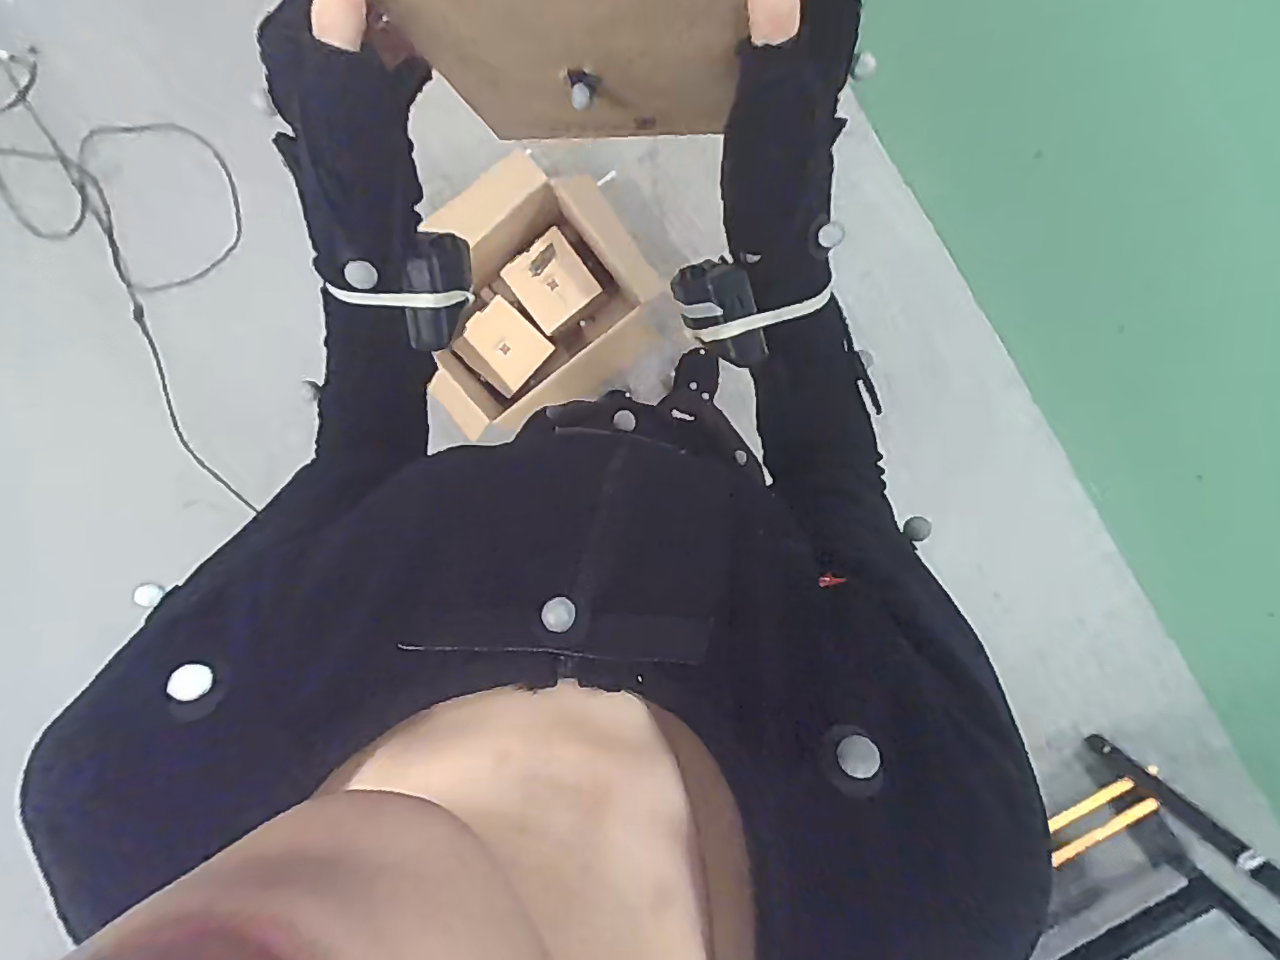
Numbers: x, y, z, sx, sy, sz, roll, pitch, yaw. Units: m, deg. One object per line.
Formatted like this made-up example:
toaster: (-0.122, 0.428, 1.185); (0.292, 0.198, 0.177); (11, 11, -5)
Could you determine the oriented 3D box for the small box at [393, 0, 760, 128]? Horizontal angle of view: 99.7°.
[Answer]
small box: (-0.018, -0.304, 0.275); (0.168, 0.176, 0.179); (3, 103, 5)
